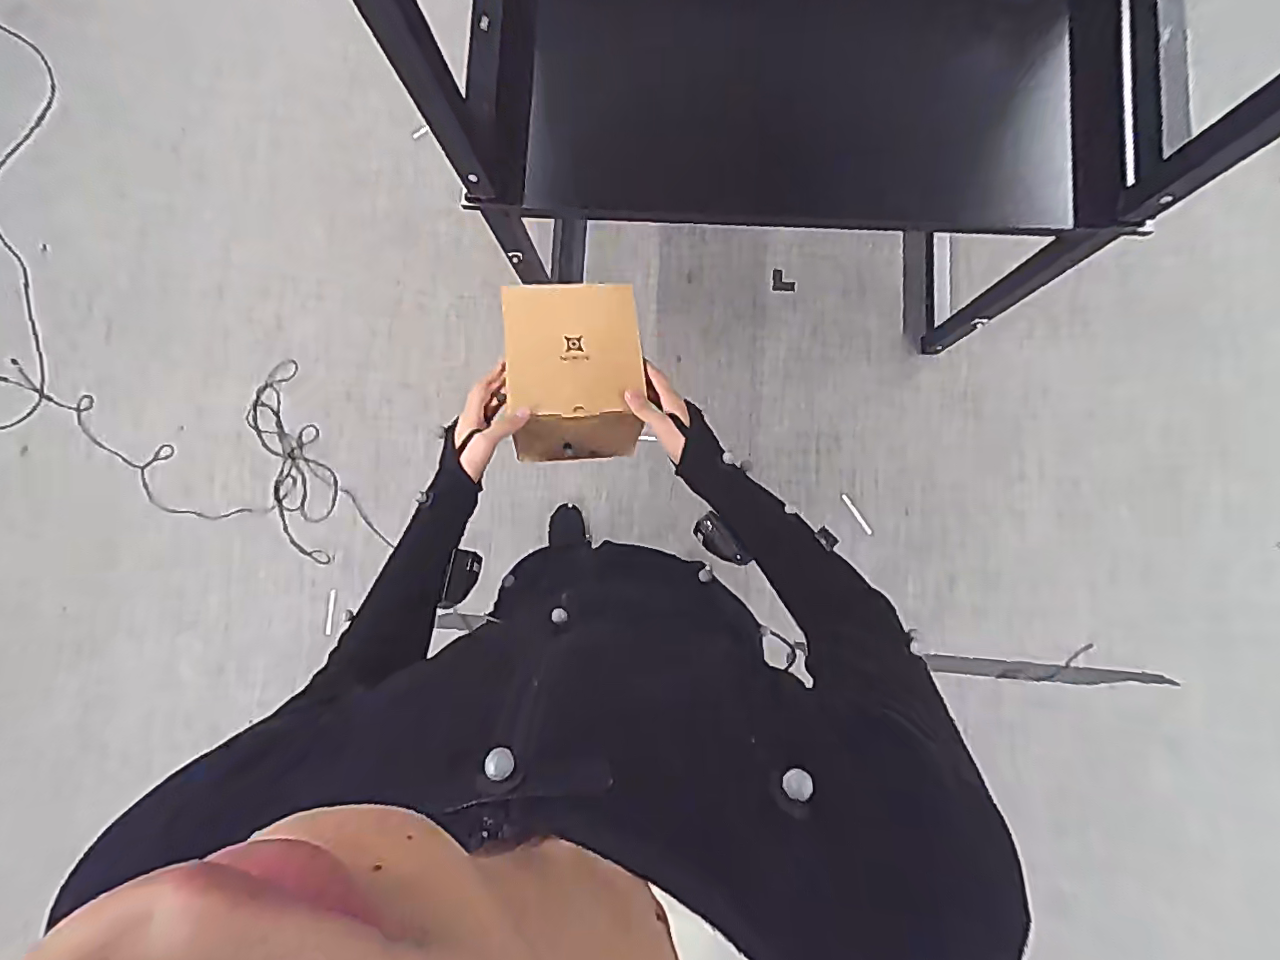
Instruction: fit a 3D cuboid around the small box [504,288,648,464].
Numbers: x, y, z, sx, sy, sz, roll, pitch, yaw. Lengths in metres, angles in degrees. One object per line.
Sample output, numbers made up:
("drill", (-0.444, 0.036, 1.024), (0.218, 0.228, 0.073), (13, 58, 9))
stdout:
("small box", (-0.090, -0.133, 0.725), (0.168, 0.176, 0.179), (-4, 75, -9))
